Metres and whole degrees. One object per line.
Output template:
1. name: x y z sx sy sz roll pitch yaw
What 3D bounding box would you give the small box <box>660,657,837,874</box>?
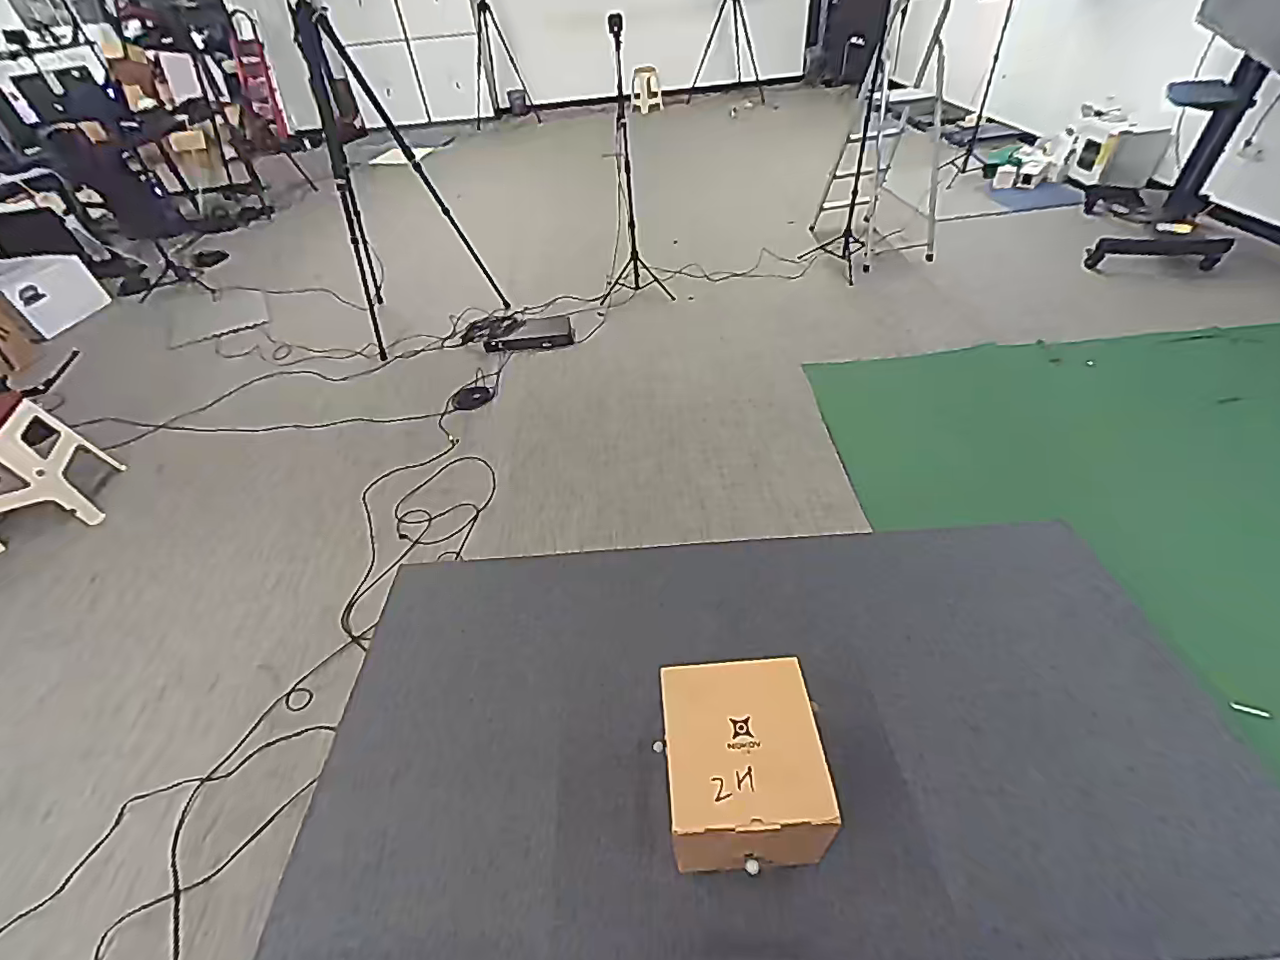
1. small box: 0.112 0.334 0.636 0.168 0.176 0.179 -6 43 2
